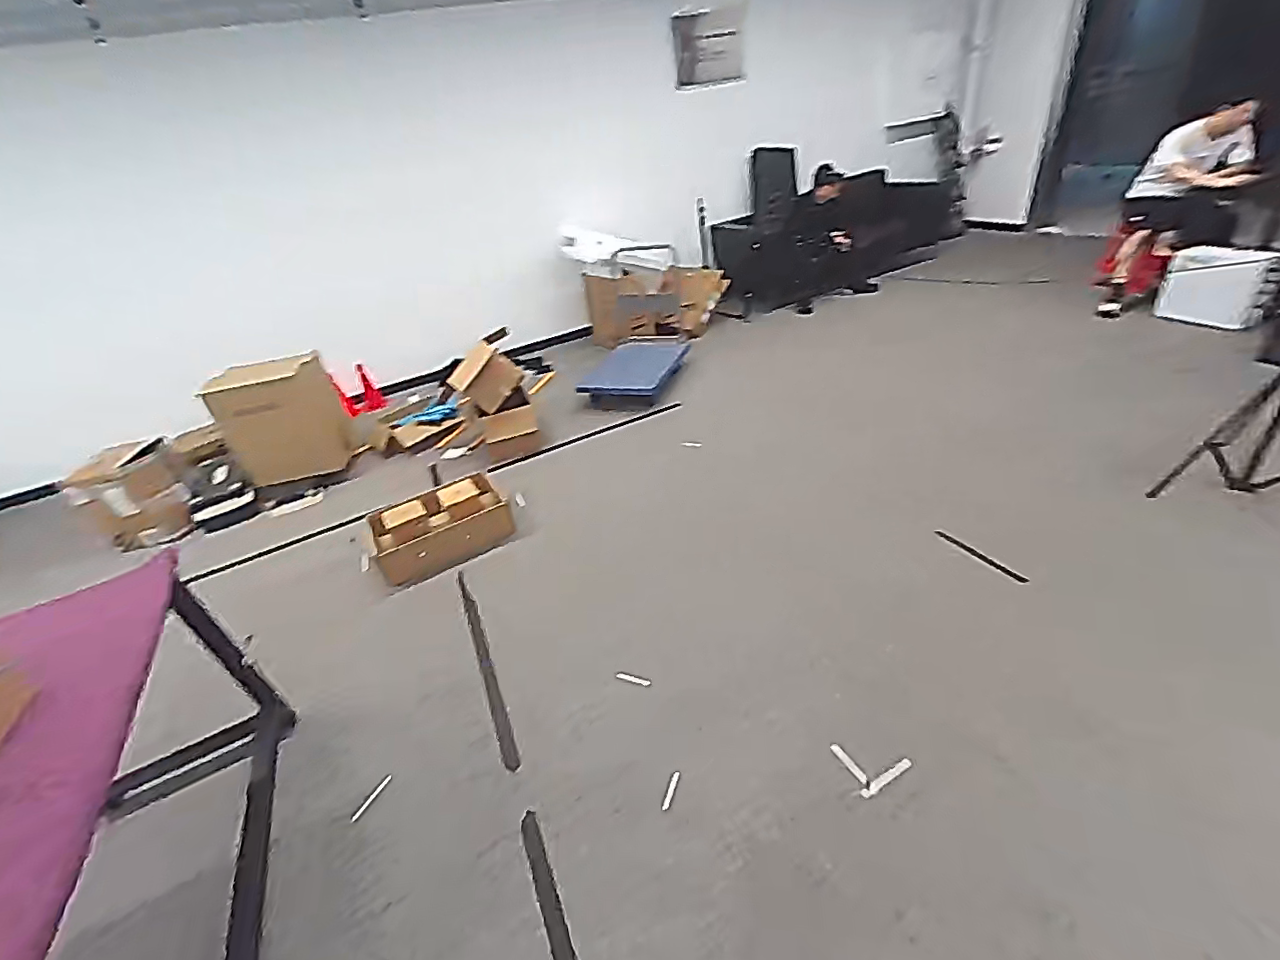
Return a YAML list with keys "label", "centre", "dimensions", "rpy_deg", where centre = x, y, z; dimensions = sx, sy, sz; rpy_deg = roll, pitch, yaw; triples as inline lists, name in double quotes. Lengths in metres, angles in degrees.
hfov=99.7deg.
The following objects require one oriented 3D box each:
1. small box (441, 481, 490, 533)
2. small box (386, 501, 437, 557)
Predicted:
- label: "small box"
  centre: [-0.864, 0.137, 2.679]
  dimensions: [0.168, 0.176, 0.179]
  rpy_deg: [-25, 35, -20]
- label: "small box"
  centre: [-1.086, 0.234, 2.585]
  dimensions: [0.179, 0.176, 0.168]
  rpy_deg: [-24, 34, -23]
